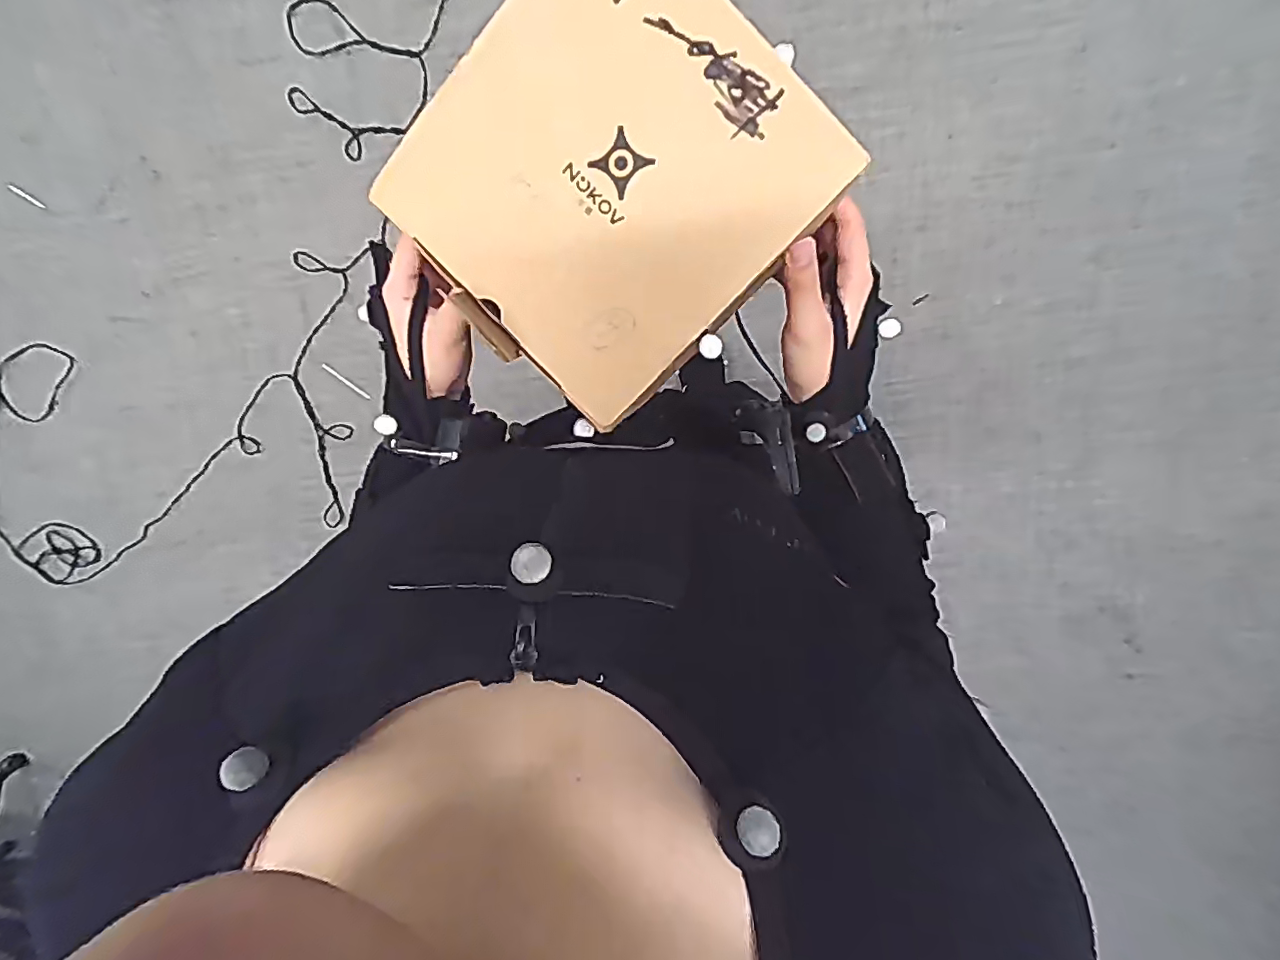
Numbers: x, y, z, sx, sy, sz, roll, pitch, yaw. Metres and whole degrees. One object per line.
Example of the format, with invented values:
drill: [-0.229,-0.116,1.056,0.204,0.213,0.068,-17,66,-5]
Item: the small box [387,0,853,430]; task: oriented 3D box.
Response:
small box: [-0.006,-0.156,0.339,0.168,0.176,0.179,44,103,-4]
